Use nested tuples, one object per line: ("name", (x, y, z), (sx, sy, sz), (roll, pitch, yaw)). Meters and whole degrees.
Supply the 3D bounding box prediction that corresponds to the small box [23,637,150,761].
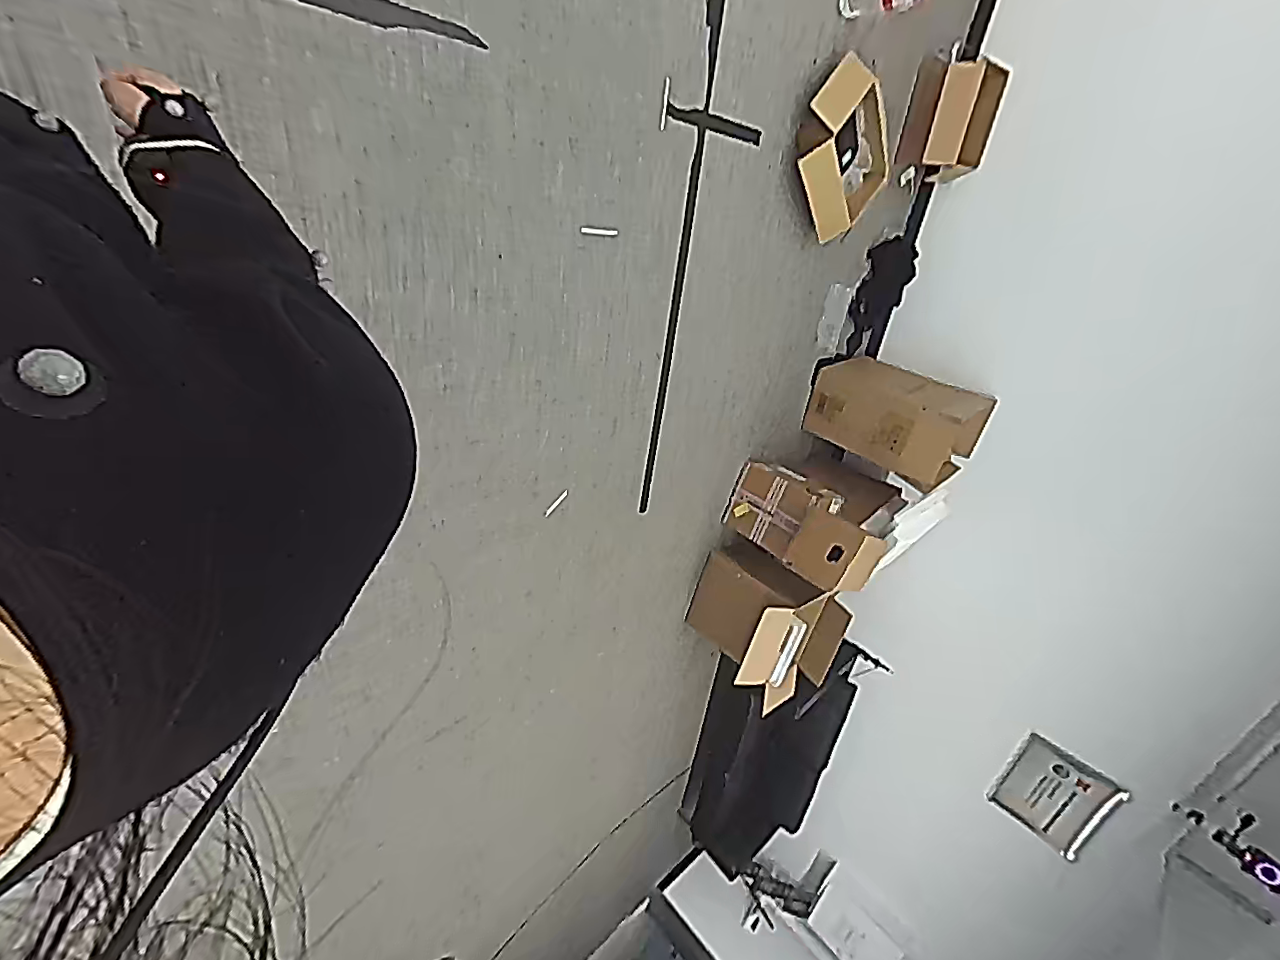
("small box", (-1.268, 0.489, 1.242), (0.168, 0.176, 0.179), (-18, 128, -39))
